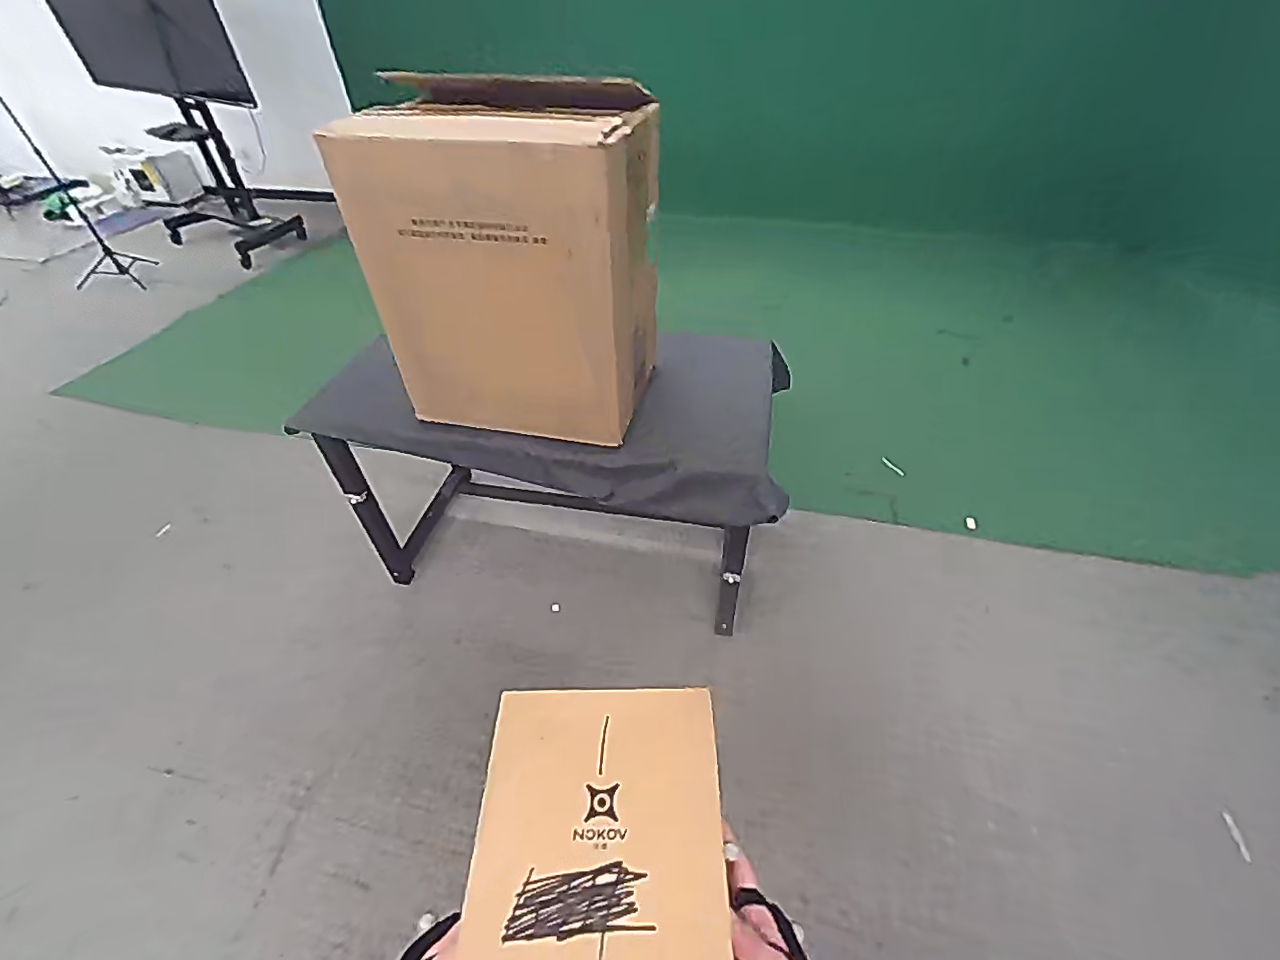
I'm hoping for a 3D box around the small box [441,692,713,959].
[{"bbox_3d":[-0.030,0.285,0.422,0.168,0.176,0.179,-1,46,3],"label":"small box"}]
